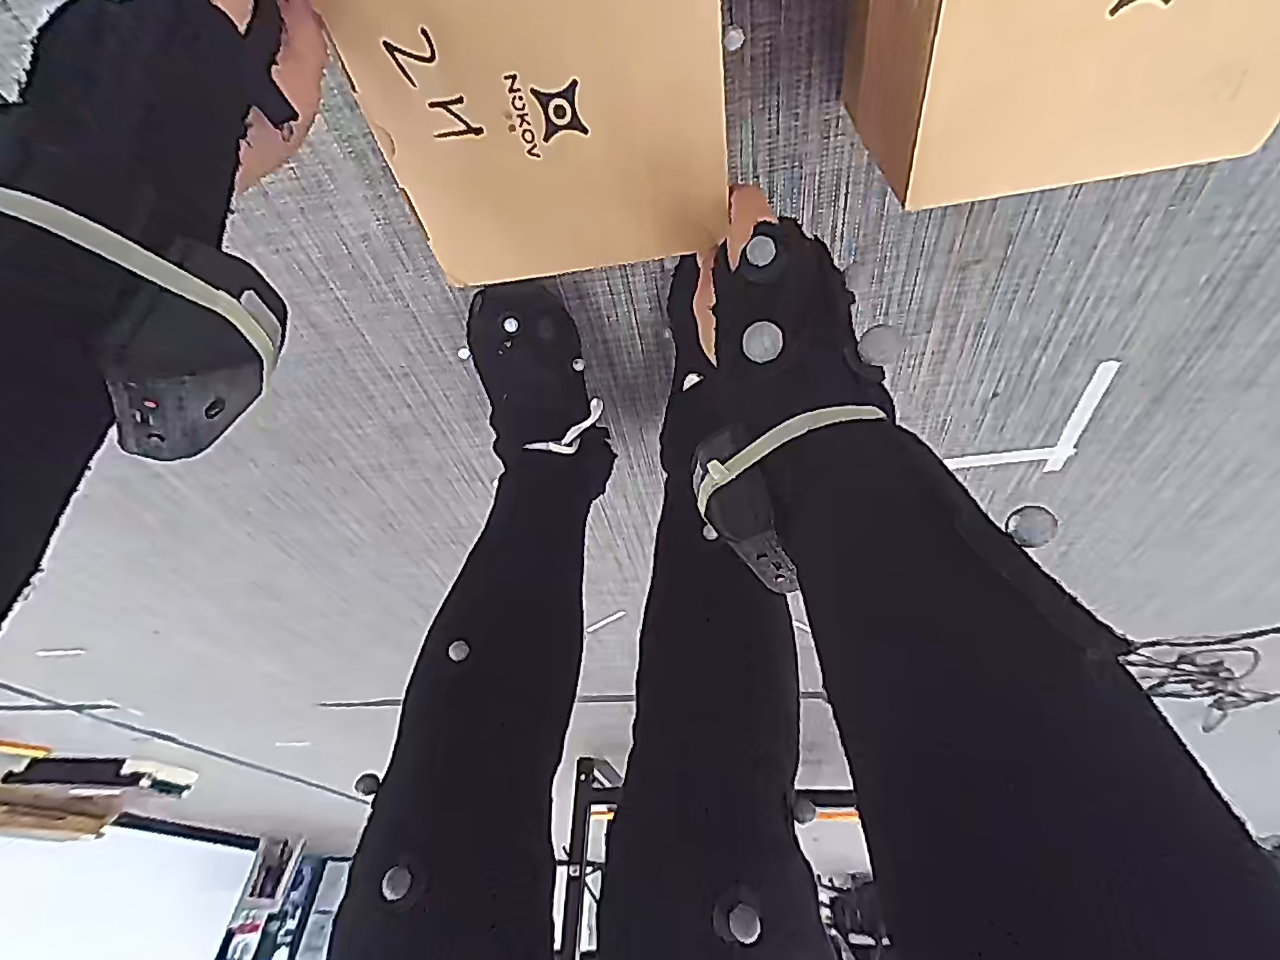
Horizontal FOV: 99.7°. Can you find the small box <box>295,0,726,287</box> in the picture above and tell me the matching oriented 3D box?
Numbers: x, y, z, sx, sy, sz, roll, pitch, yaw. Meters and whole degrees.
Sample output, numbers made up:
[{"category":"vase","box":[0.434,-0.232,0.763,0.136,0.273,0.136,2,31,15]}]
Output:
[{"category":"small box","box":[-0.049,-0.238,0.306,0.179,0.176,0.168,-5,140,8]}]
